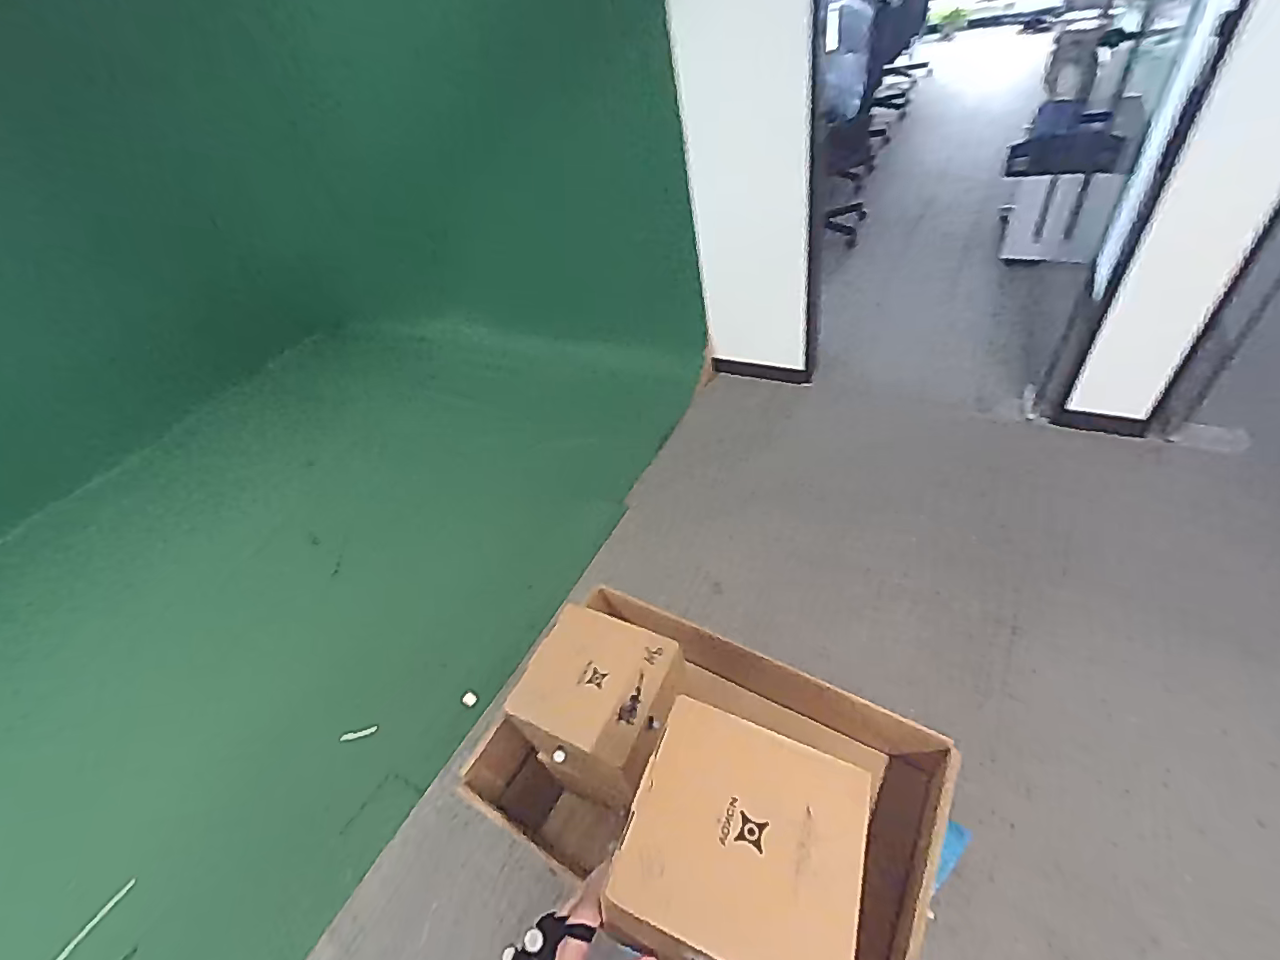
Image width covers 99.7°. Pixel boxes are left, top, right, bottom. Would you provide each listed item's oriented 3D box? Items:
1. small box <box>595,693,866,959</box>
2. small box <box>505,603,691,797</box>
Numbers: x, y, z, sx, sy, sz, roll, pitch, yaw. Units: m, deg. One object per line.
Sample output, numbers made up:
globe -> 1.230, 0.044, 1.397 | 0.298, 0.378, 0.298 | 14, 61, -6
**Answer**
small box -> 0.074, 0.327, 0.471 | 0.179, 0.176, 0.168 | 18, 45, 15
small box -> -0.046, 0.302, 0.739 | 0.179, 0.176, 0.168 | 14, 51, 25
